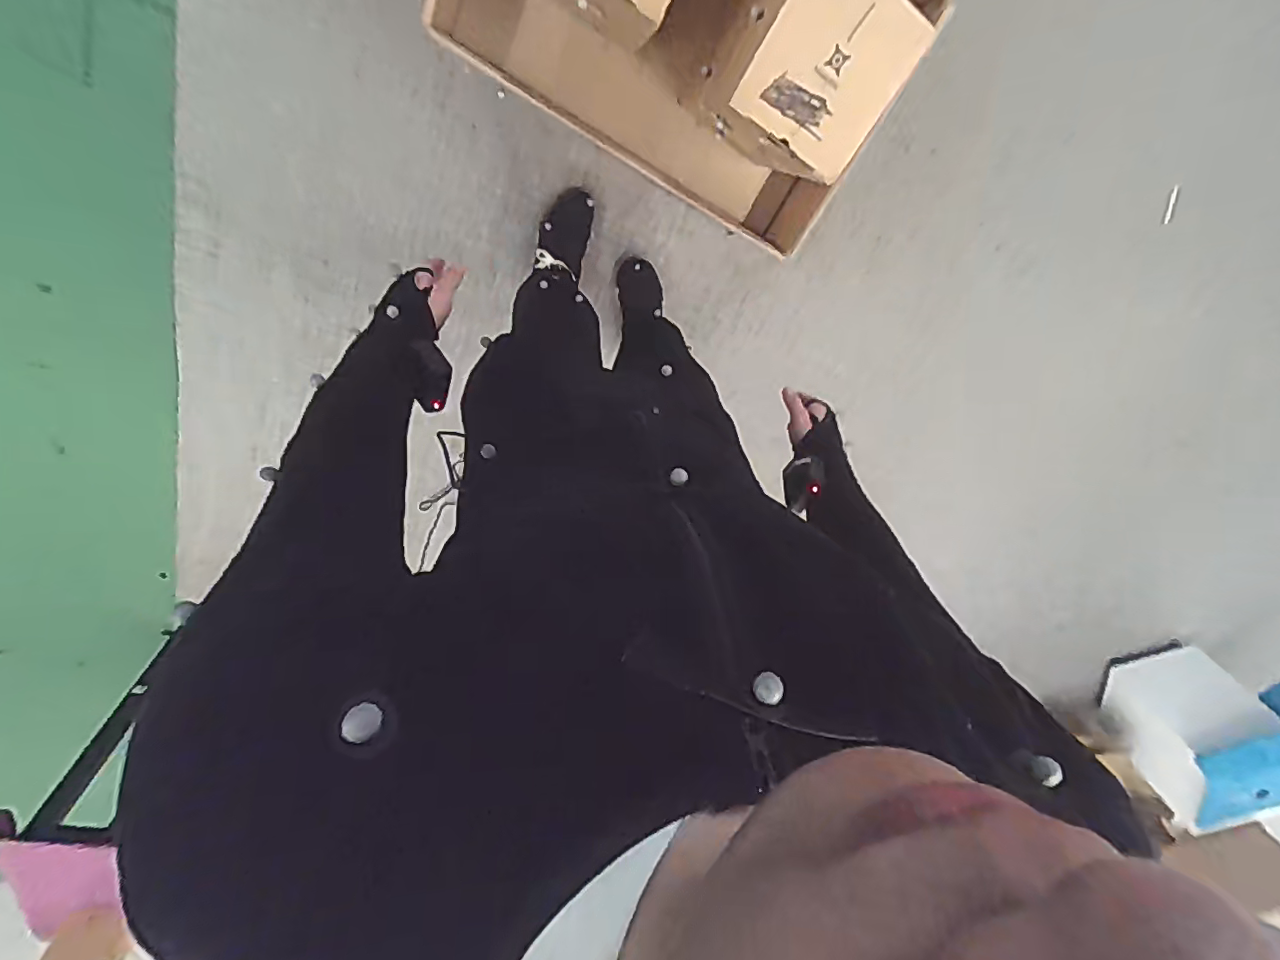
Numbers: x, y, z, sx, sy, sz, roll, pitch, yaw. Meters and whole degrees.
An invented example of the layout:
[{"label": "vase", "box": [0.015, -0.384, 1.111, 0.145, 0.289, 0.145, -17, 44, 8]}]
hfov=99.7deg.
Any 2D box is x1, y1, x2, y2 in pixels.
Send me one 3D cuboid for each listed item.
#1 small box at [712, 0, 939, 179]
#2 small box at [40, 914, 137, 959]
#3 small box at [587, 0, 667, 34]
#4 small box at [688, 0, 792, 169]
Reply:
[{"label": "small box", "box": [0.204, -0.502, 0.656, 0.168, 0.176, 0.179, 24, 118, -21]}, {"label": "small box", "box": [-1.551, 1.348, 1.507, 0.168, 0.176, 0.179, 19, 119, -19]}, {"label": "small box", "box": [-0.018, -0.611, 0.555, 0.168, 0.176, 0.179, 22, 118, -20]}, {"label": "small box", "box": [0.188, -0.594, 0.792, 0.168, 0.176, 0.179, 23, 119, -20]}]
